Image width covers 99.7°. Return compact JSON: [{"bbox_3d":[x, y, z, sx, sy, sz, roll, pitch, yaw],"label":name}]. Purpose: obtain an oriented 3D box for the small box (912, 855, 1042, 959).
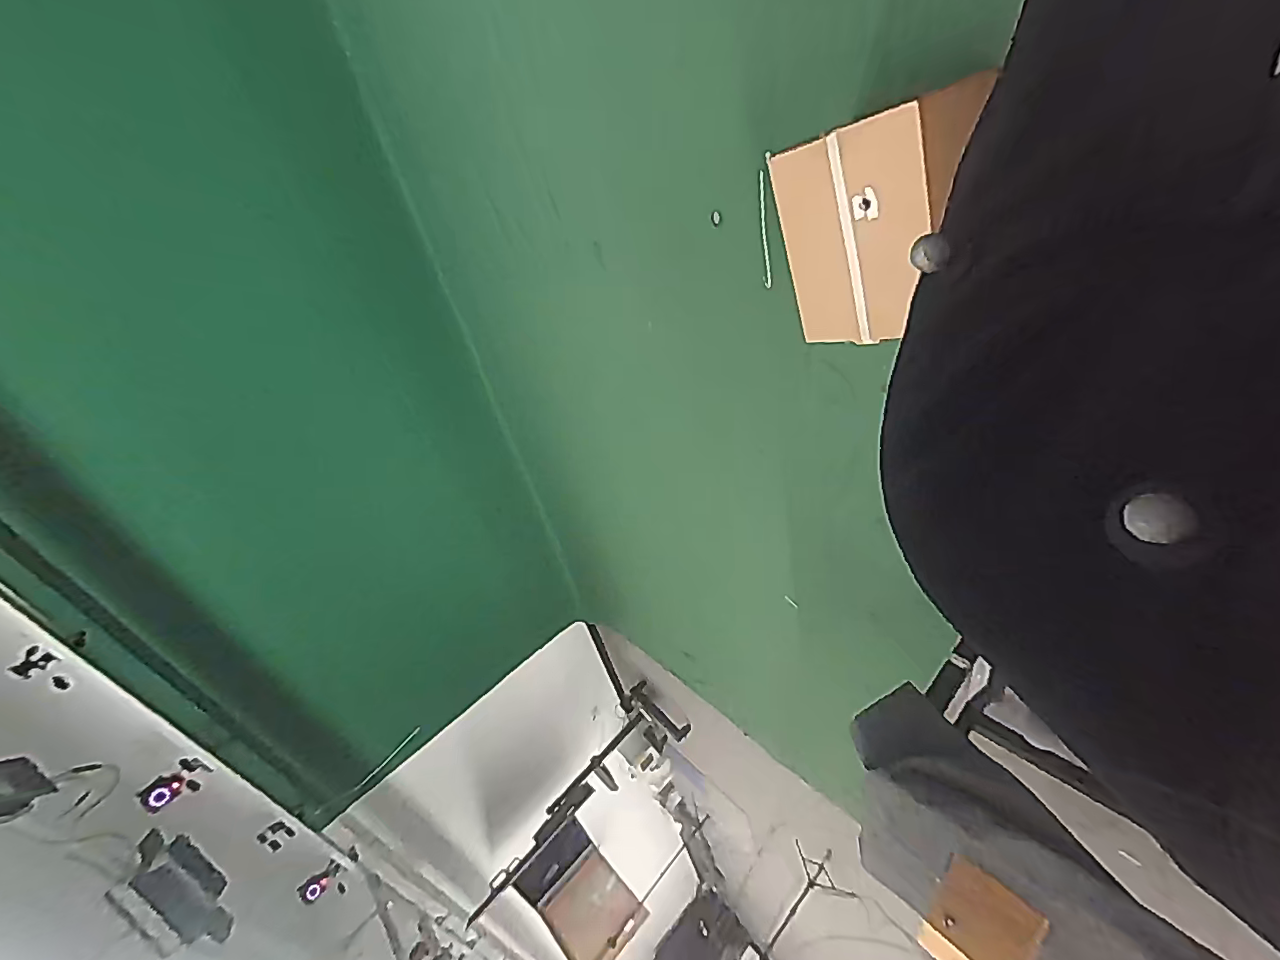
[{"bbox_3d":[0.706,0.948,1.139,0.179,0.176,0.168,27,143,42],"label":"small box"}]
